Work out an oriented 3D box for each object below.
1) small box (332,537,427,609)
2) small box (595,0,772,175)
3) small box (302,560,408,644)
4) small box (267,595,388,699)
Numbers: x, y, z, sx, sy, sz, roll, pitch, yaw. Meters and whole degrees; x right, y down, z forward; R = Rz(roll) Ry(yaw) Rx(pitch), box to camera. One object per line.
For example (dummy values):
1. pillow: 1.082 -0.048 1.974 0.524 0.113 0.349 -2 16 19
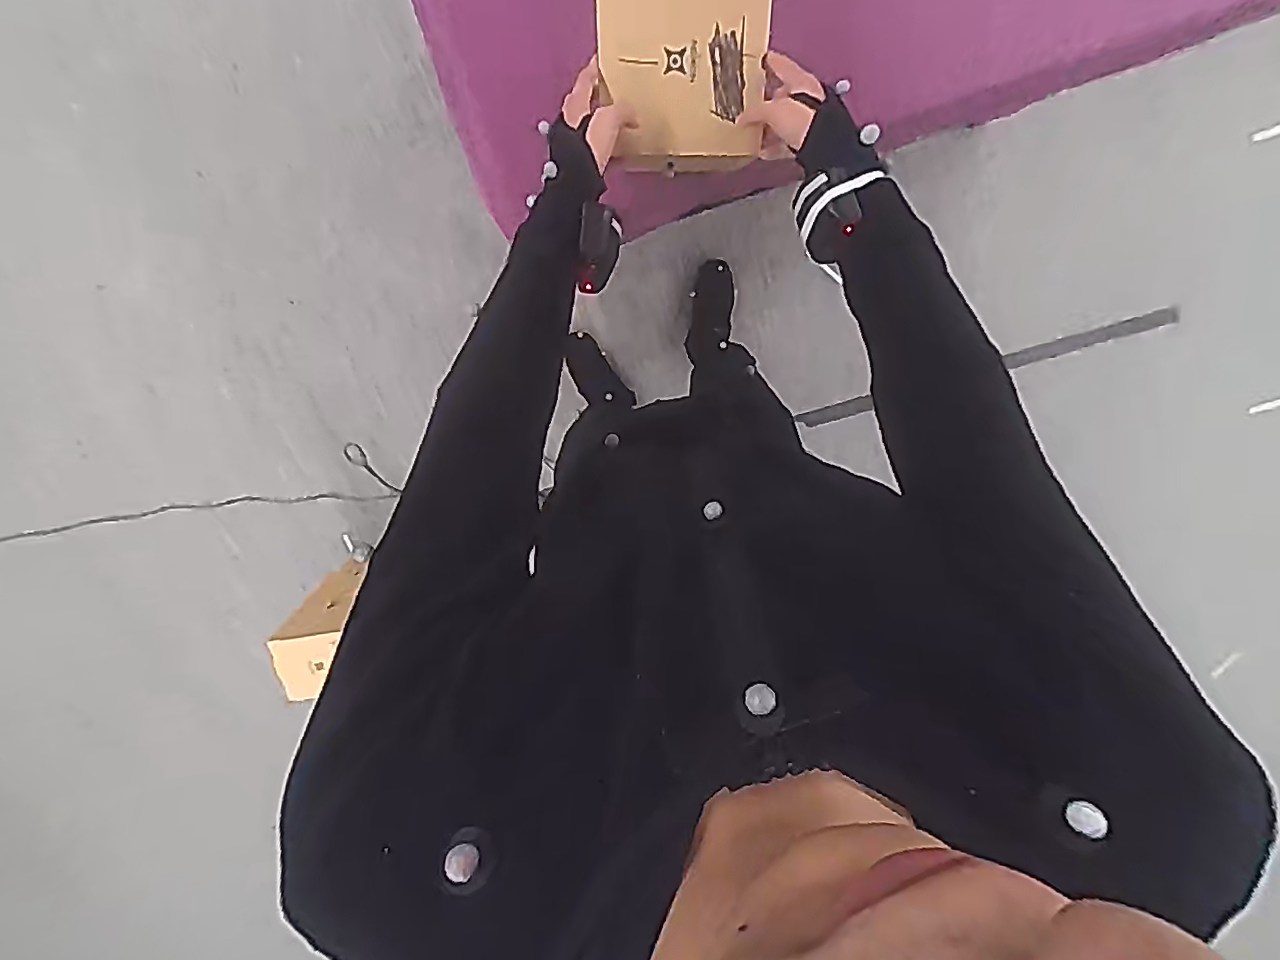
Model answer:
1. small box: -0.770 0.294 1.617 0.179 0.176 0.168 -16 109 1
2. small box: 0.041 -0.456 0.622 0.179 0.176 0.168 0 114 0
3. small box: -0.758 0.344 1.463 0.168 0.176 0.179 -15 109 1
4. small box: -0.745 0.399 1.308 0.179 0.176 0.168 -7 109 0
